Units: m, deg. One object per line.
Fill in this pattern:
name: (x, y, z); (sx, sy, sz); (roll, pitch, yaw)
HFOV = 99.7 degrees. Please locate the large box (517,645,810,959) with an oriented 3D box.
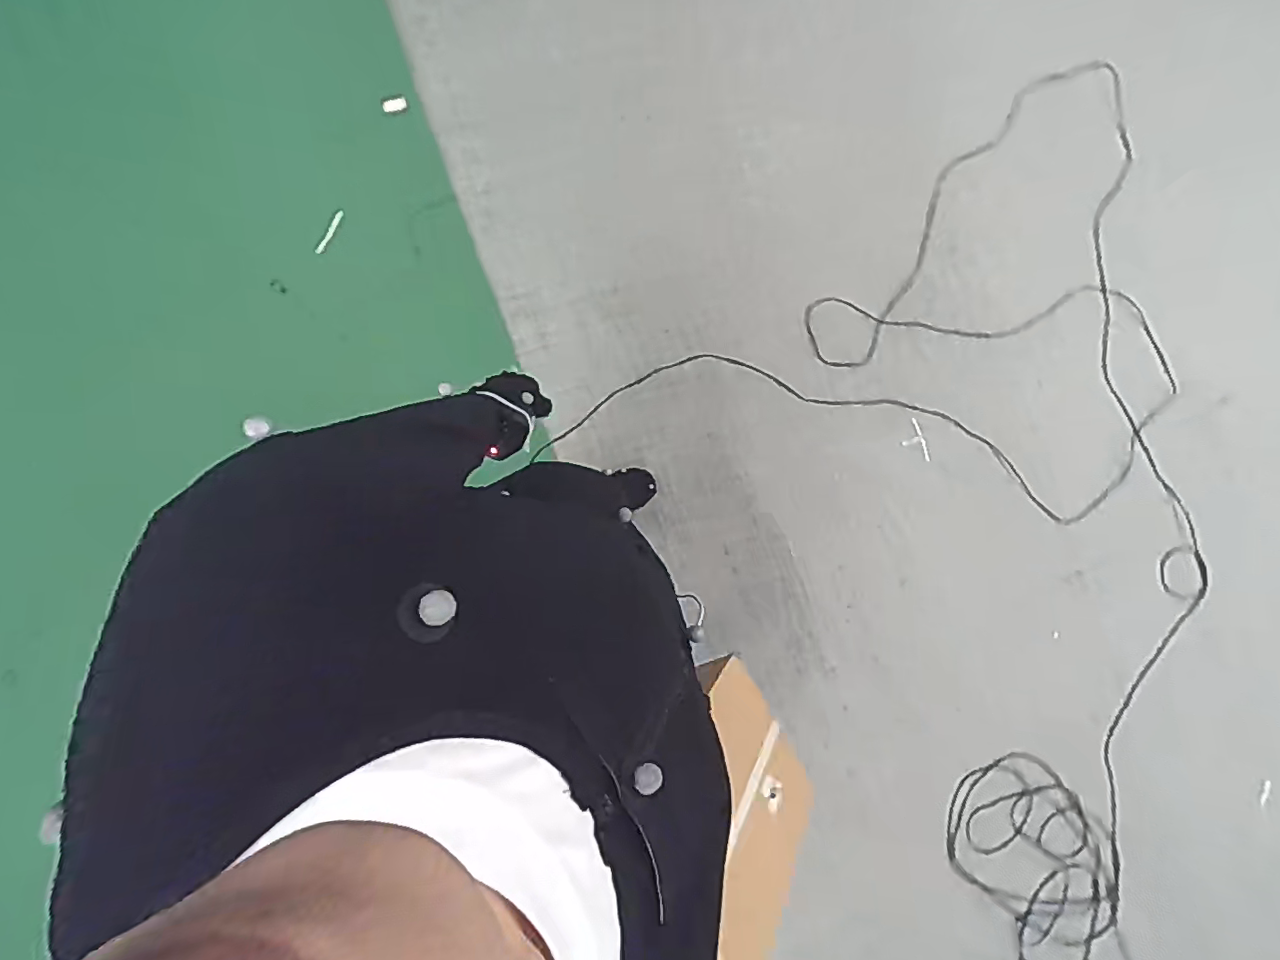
large box: (0.062, 0.574, 0.983); (0.320, 0.408, 0.320); (-30, 90, 32)
